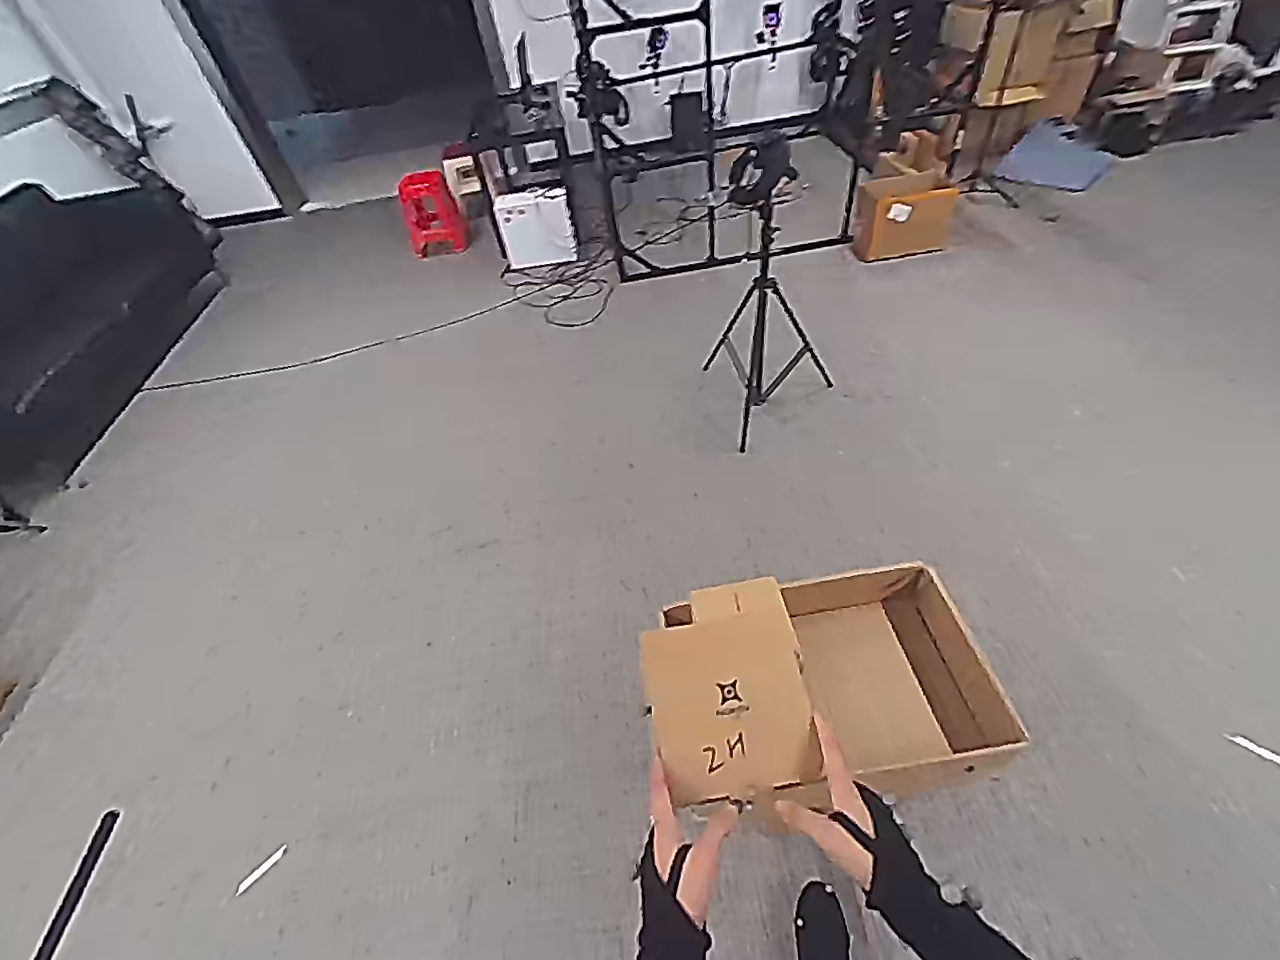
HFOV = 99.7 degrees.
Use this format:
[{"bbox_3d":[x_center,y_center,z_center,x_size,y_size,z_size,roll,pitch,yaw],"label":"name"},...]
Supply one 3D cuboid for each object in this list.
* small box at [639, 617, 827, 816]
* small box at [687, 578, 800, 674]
[{"bbox_3d":[0.090,0.280,0.632,0.168,0.176,0.179,-8,60,-4],"label":"small box"},{"bbox_3d":[0.189,0.314,1.014,0.168,0.176,0.179,-11,46,0],"label":"small box"}]
